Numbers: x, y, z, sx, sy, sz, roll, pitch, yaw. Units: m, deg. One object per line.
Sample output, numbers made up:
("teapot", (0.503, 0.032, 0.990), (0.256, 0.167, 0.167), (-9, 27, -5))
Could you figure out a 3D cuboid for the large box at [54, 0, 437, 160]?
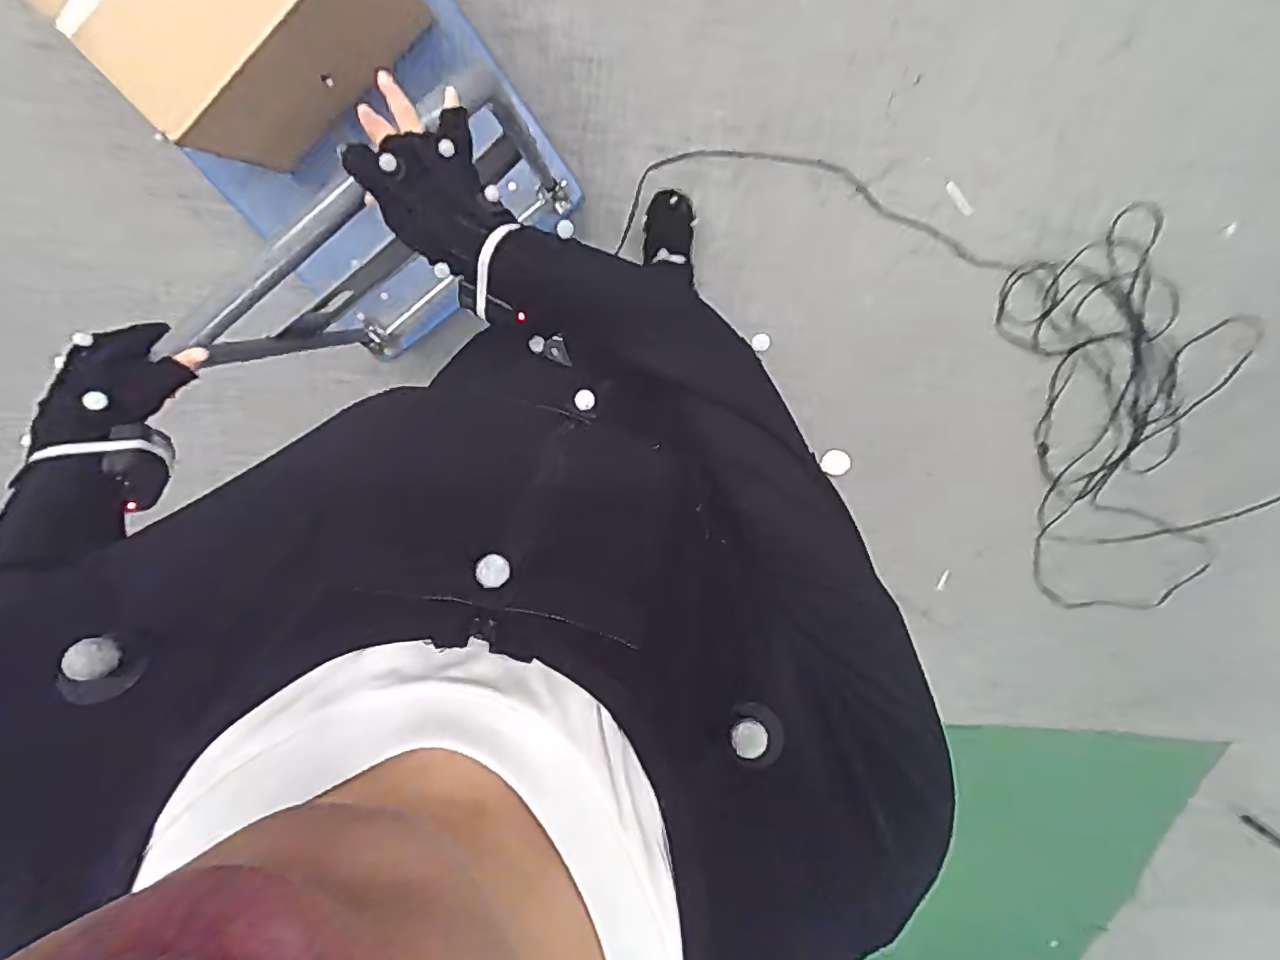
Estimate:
("large box", (-0.590, -0.771, 0.811), (0.408, 0.320, 0.320), (-36, 110, 12))
